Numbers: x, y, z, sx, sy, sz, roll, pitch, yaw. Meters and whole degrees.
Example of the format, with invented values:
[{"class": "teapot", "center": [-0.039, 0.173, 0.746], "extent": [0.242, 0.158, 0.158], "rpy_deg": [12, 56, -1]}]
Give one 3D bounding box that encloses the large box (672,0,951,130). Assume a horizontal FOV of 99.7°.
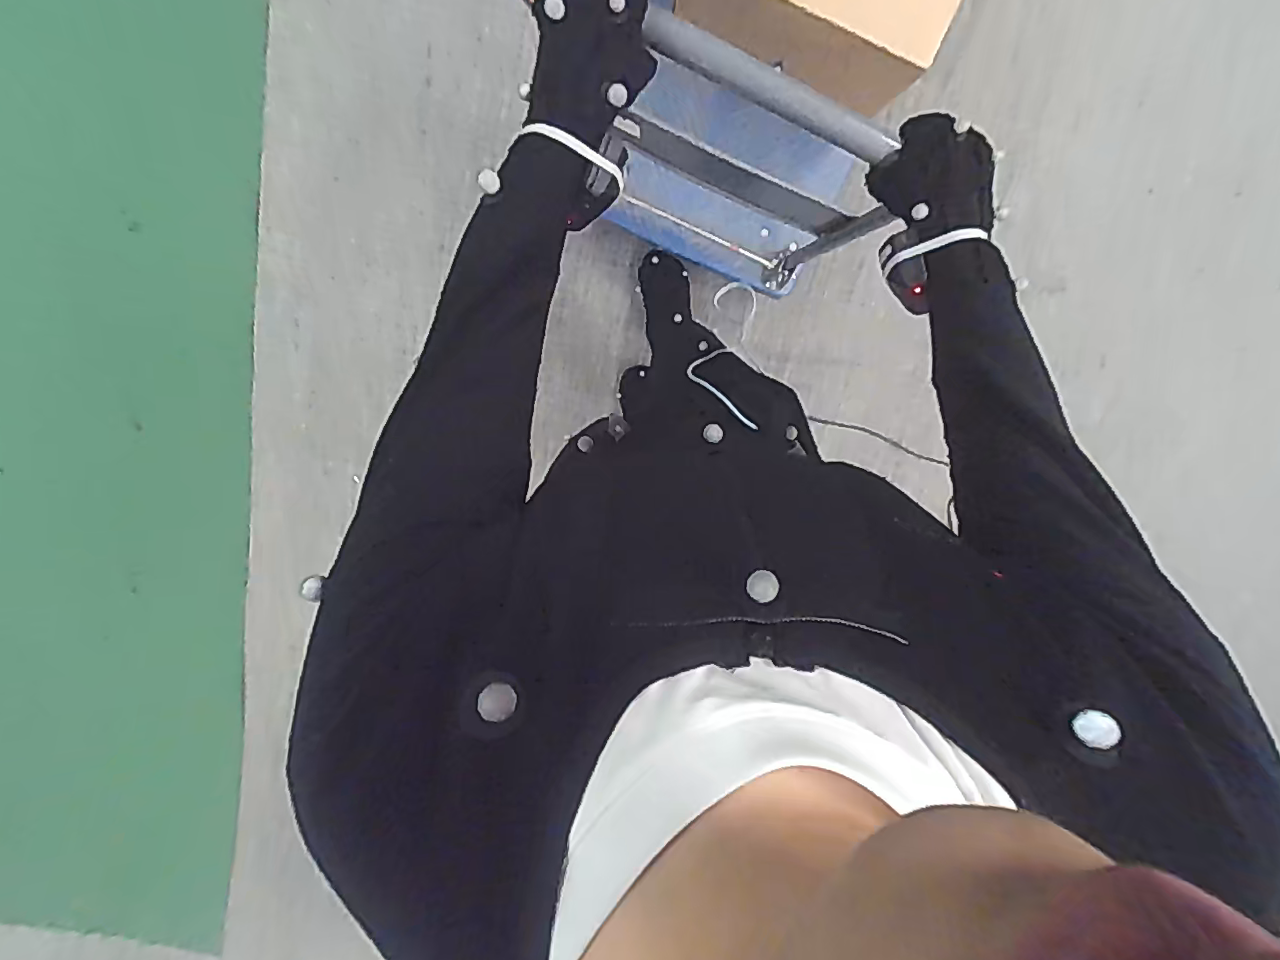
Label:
[{"class": "large box", "center": [0.299, -0.869, 0.908], "extent": [0.408, 0.320, 0.320], "rpy_deg": [21, 105, -6]}]
